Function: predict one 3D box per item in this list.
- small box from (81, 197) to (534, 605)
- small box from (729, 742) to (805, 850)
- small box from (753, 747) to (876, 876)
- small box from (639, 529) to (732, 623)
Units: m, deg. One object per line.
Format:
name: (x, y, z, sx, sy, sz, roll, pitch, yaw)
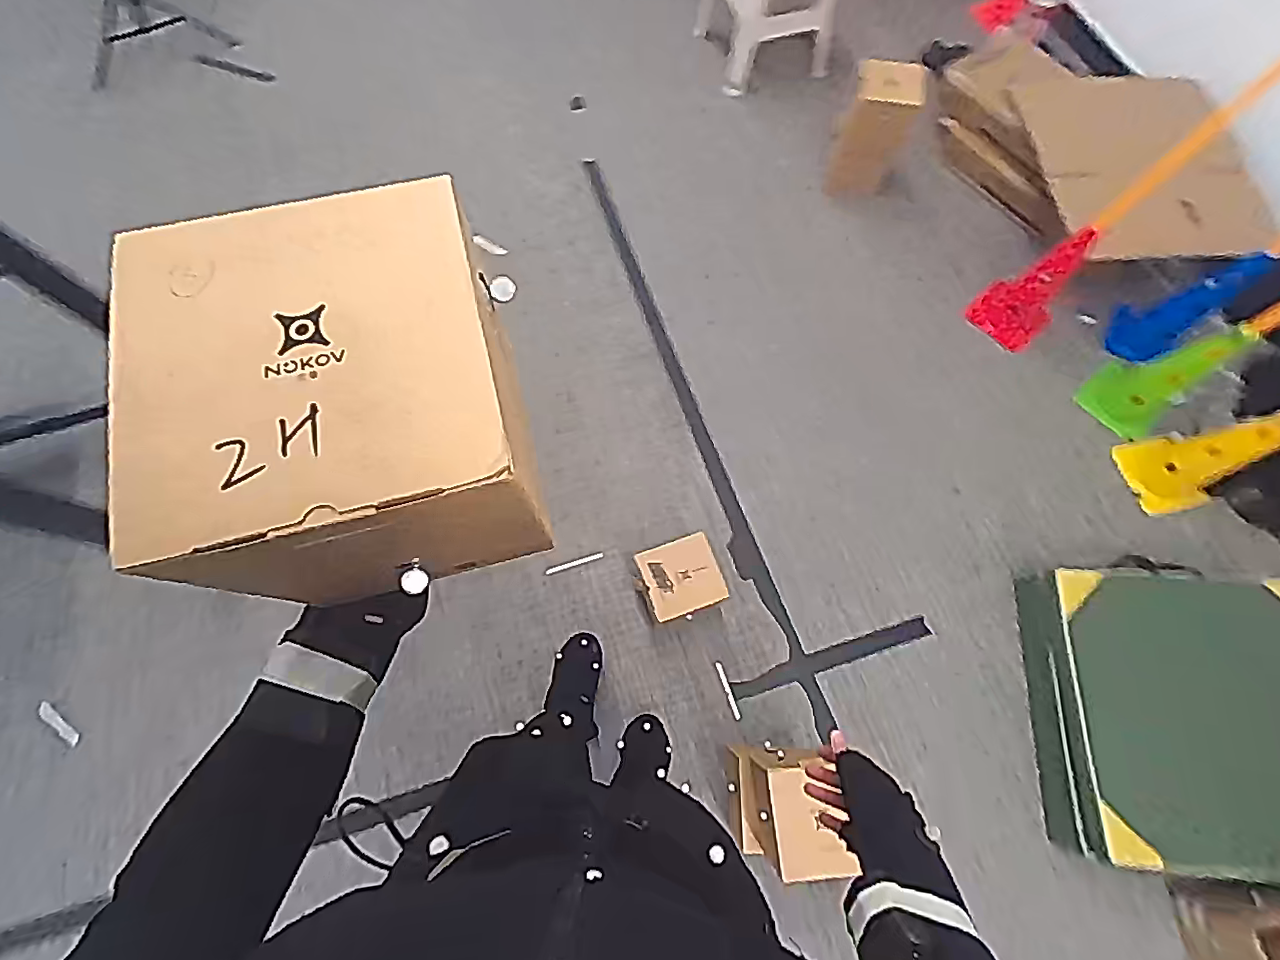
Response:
small box: (-0.168, -0.029, 0.328, 0.168, 0.176, 0.179, -12, 75, -4)
small box: (0.292, 0.673, 1.172, 0.168, 0.176, 0.179, -2, 73, -1)
small box: (0.316, 0.611, 1.019, 0.168, 0.176, 0.179, -4, 73, -1)
small box: (0.104, 0.240, 1.318, 0.179, 0.176, 0.168, -18, 72, -7)
